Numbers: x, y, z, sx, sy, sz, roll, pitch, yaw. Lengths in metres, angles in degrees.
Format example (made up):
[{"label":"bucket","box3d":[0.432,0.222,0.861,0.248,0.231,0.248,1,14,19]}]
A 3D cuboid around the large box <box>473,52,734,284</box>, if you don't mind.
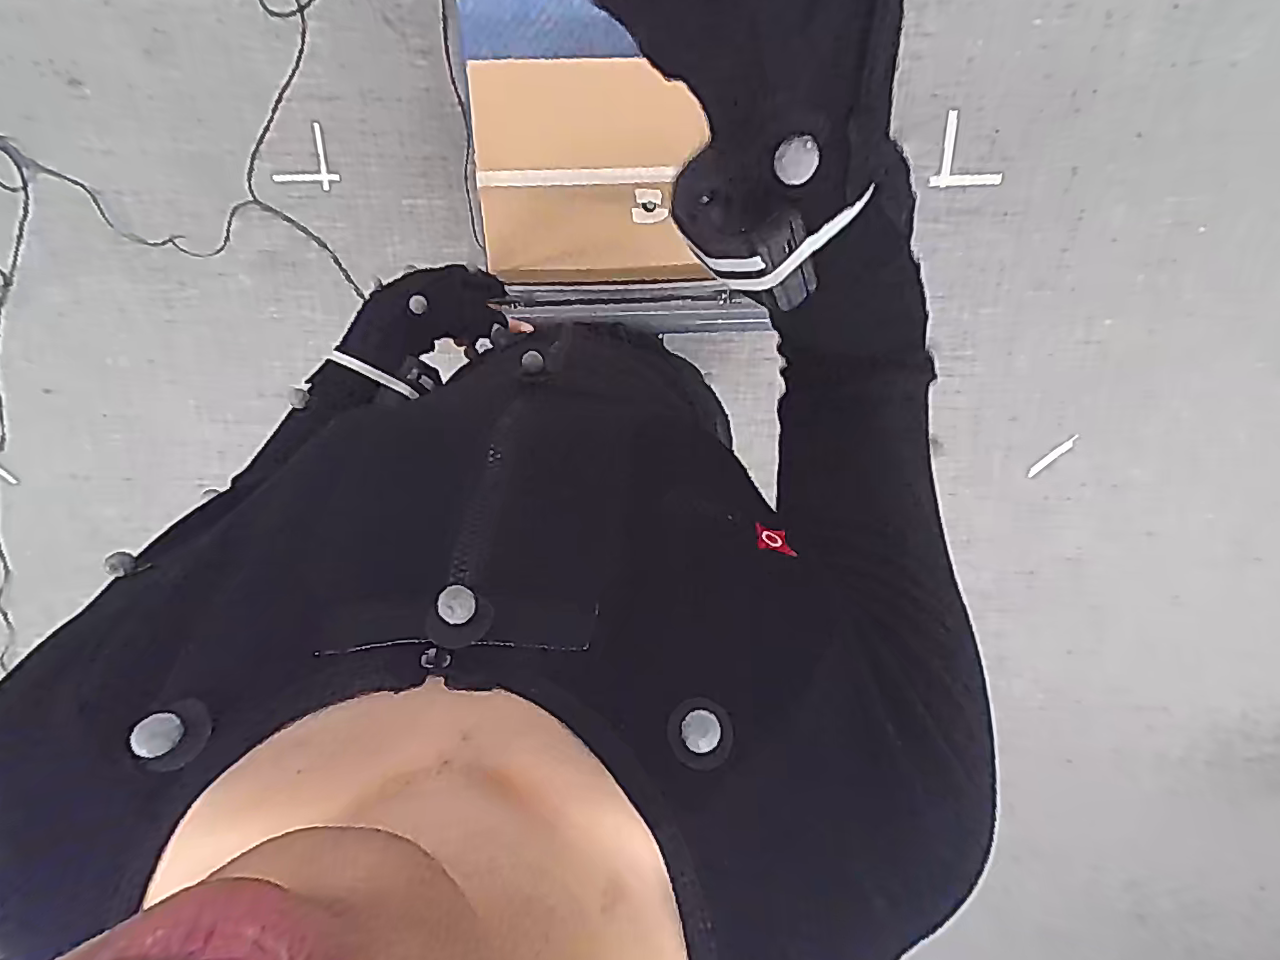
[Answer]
[{"label":"large box","box3d":[-0.057,-0.543,1.007,0.408,0.320,0.320,-2,109,-2]}]
